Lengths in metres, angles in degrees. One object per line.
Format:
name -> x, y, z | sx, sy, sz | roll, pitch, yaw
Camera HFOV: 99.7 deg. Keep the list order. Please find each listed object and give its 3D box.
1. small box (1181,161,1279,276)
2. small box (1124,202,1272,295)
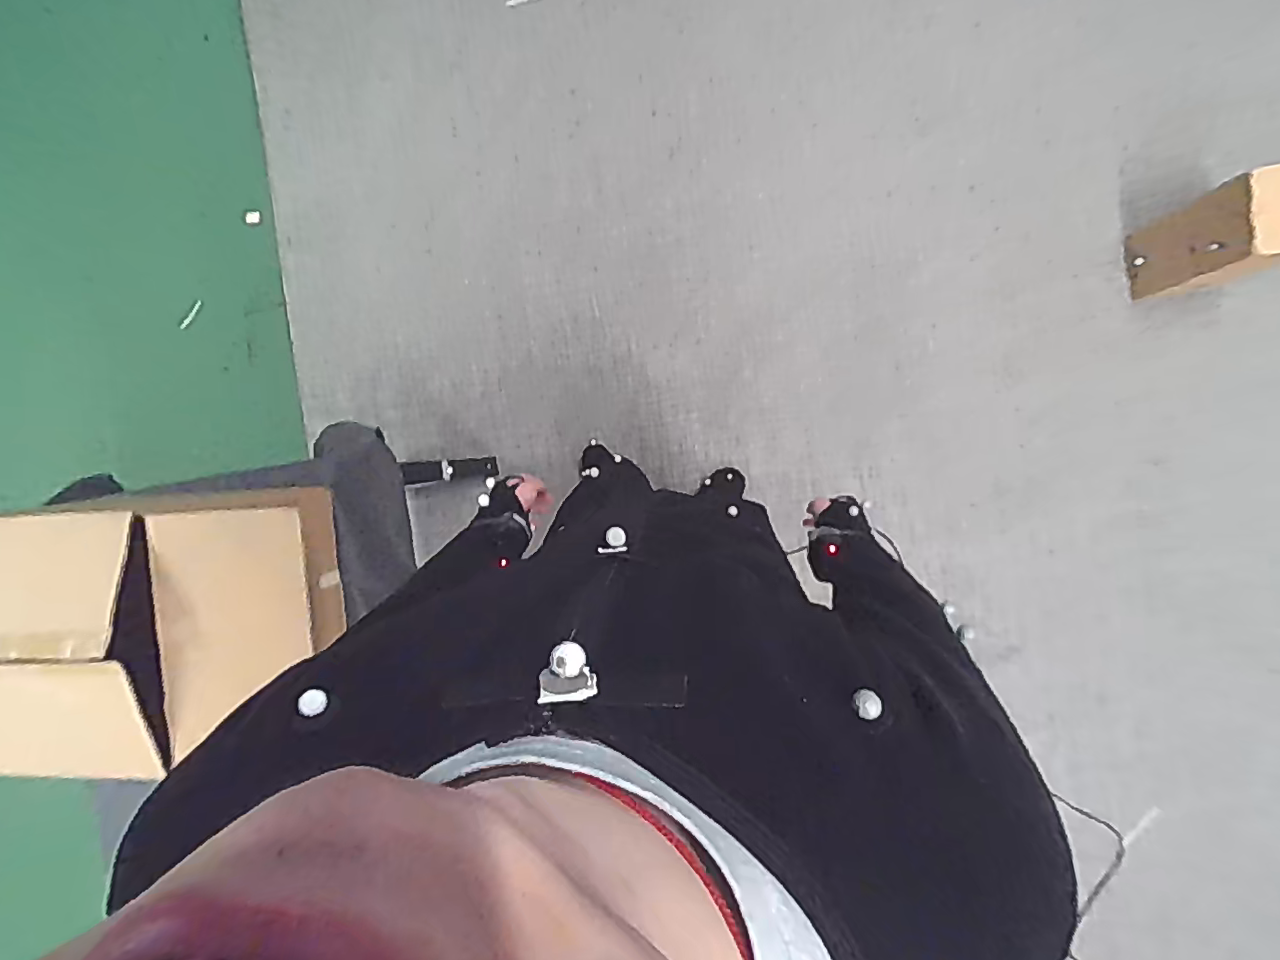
small box -> 1.248, -0.525, 1.088 | 0.179, 0.176, 0.168 | -7, 95, 8
small box -> 1.276, -0.539, 1.246 | 0.179, 0.176, 0.168 | -8, 94, 10
